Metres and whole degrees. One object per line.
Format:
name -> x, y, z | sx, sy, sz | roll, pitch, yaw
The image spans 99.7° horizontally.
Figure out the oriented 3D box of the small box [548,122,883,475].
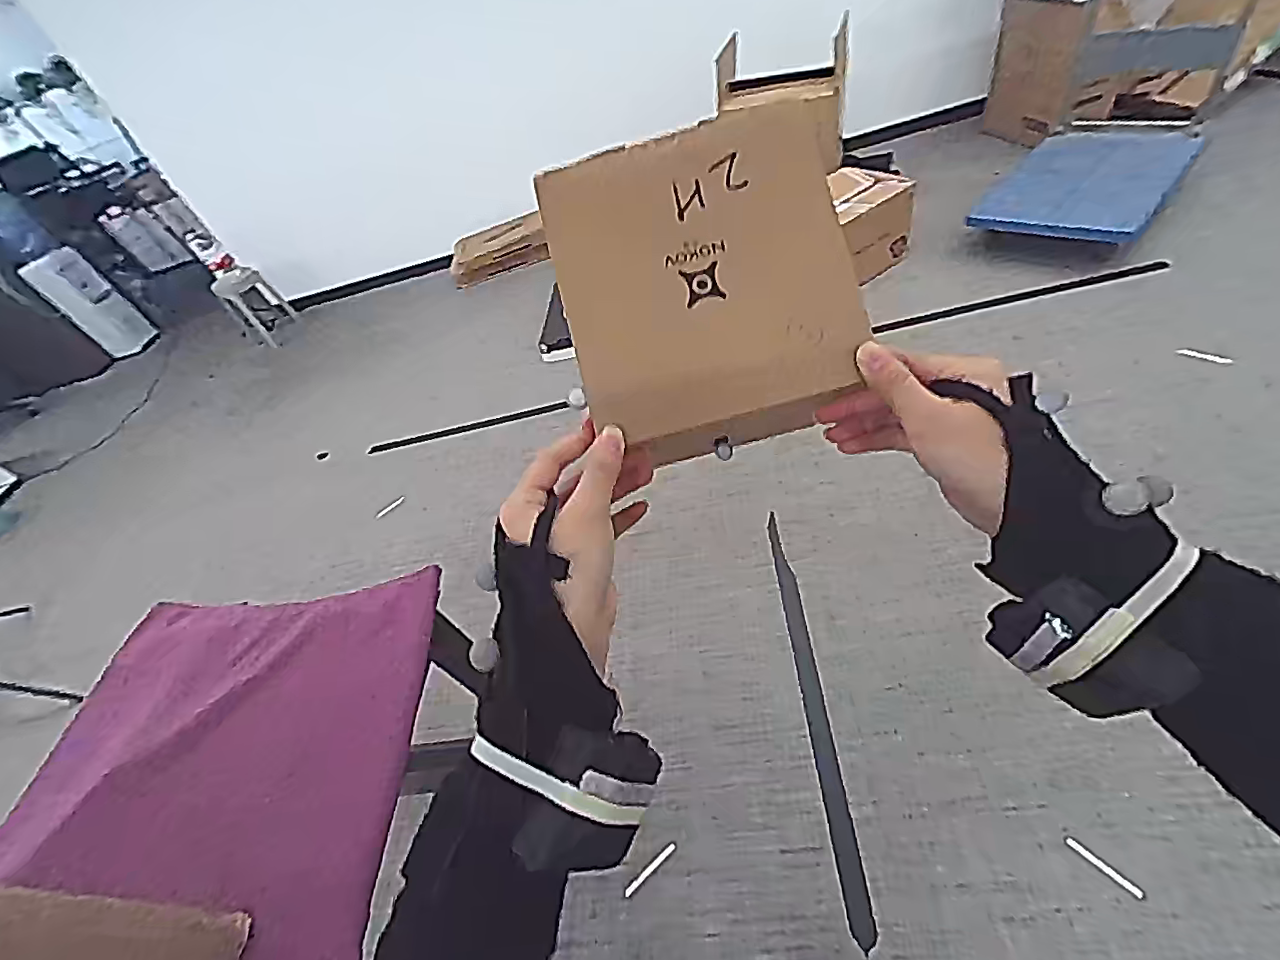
small box -> 0.048, -0.104, 0.396 | 0.168, 0.176, 0.179 | -14, 85, 3
